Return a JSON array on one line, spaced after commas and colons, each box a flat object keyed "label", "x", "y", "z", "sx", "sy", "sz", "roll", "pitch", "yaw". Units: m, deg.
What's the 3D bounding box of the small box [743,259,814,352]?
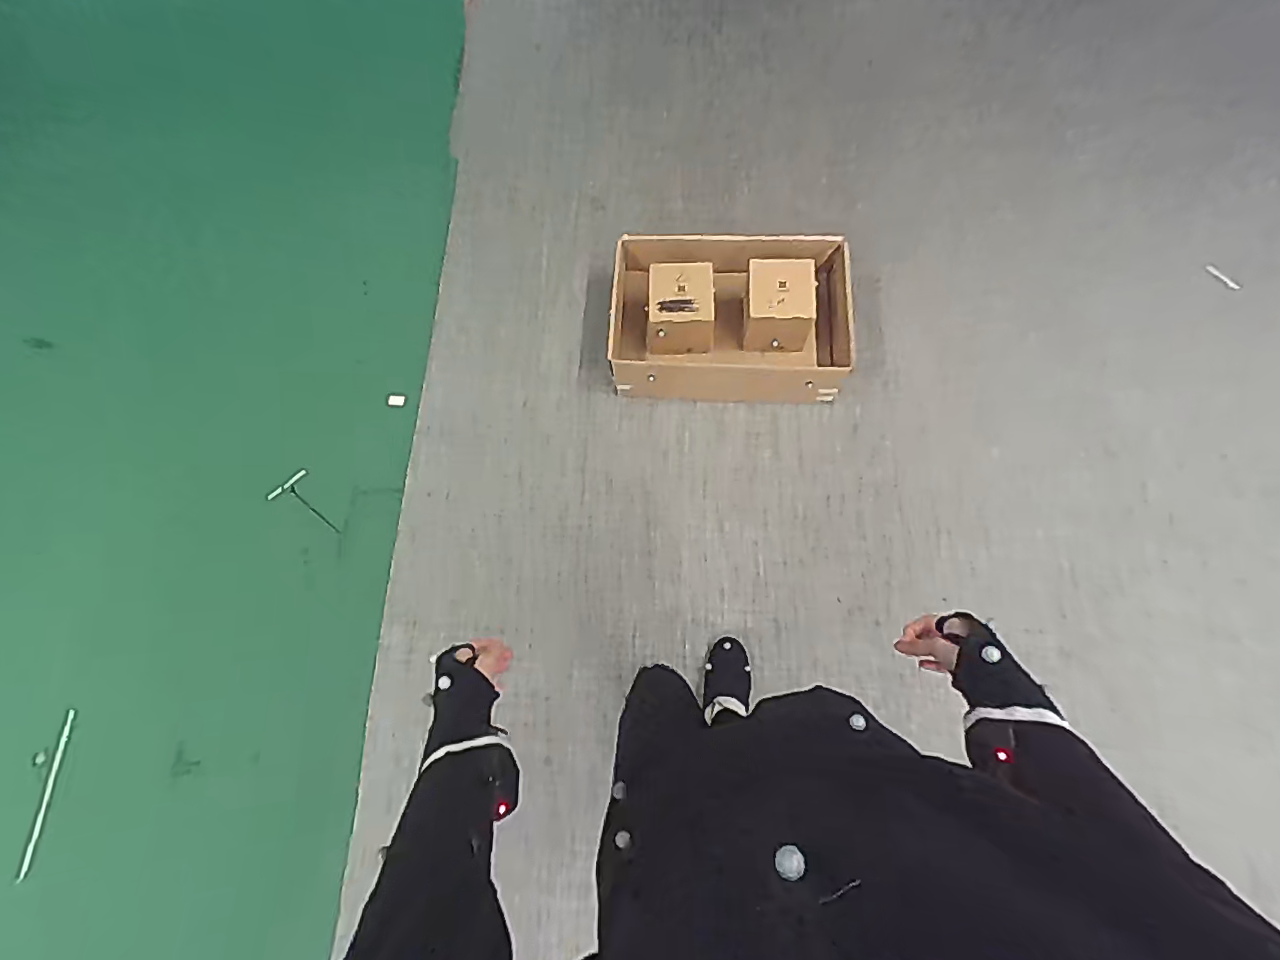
[{"label": "small box", "x": 0.366, "y": -0.466, "z": 1.452, "sx": 0.168, "sy": 0.176, "sz": 0.179, "roll": 2, "pitch": 74, "yaw": 6}]
